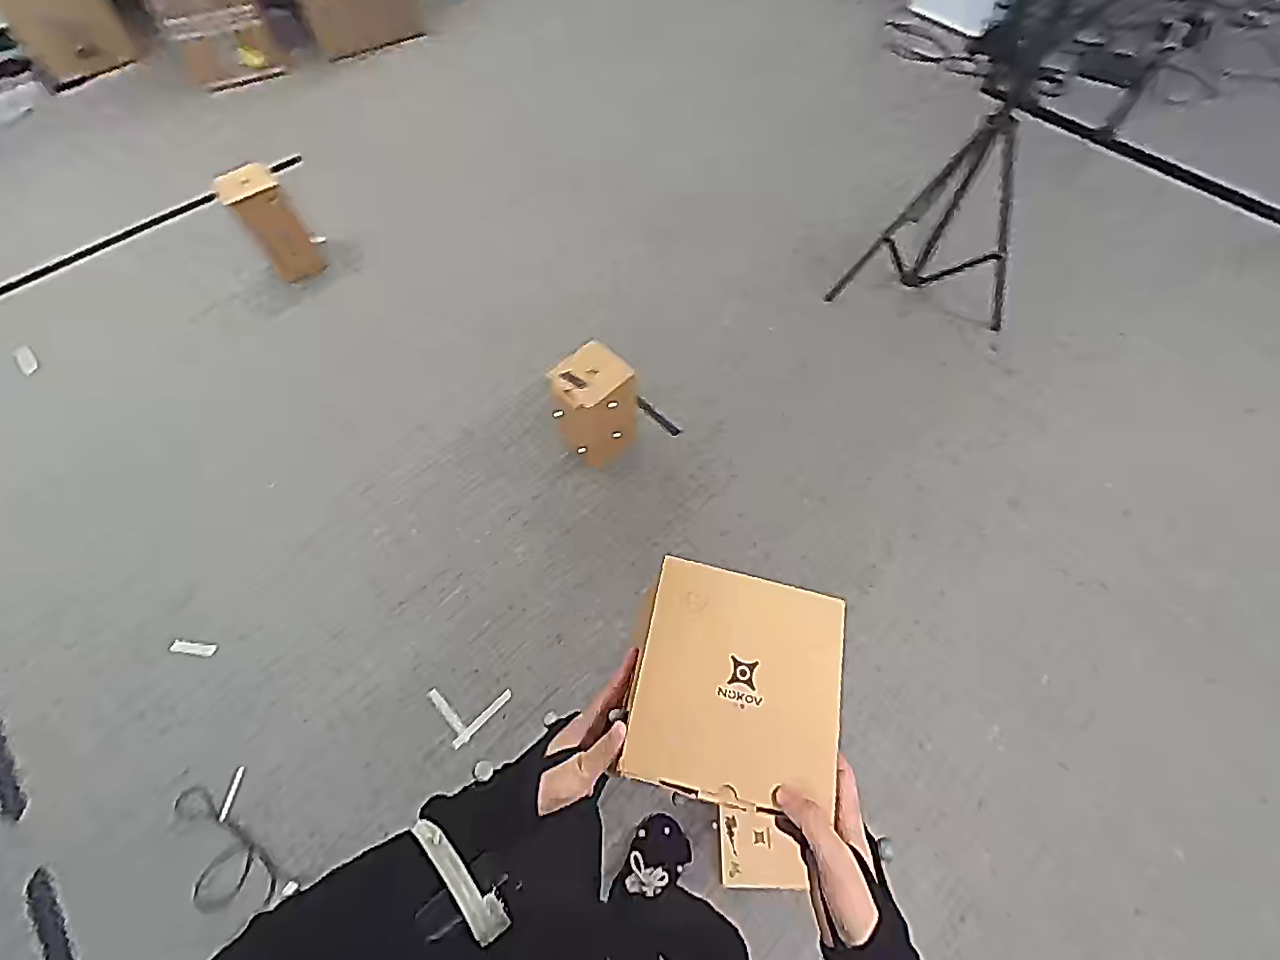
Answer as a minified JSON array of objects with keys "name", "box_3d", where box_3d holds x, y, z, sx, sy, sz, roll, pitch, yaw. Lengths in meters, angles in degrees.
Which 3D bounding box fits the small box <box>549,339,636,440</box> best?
[{"name":"small box","box_3d":[-0.123,-0.243,1.488,0.168,0.176,0.179,41,69,19]}]

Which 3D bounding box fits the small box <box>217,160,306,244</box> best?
[{"name":"small box","box_3d":[-1.294,-0.956,1.865,0.179,0.176,0.168,-36,67,-16]}]

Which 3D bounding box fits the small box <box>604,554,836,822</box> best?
[{"name":"small box","box_3d":[0.065,0.193,0.506,0.168,0.176,0.179,14,63,-1]}]

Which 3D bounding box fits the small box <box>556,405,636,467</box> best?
[{"name":"small box","box_3d":[-0.126,-0.171,1.637,0.168,0.176,0.179,40,68,18]}]

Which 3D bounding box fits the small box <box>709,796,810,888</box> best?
[{"name":"small box","box_3d":[0.245,0.749,1.153,0.179,0.176,0.168,1,63,1]}]
